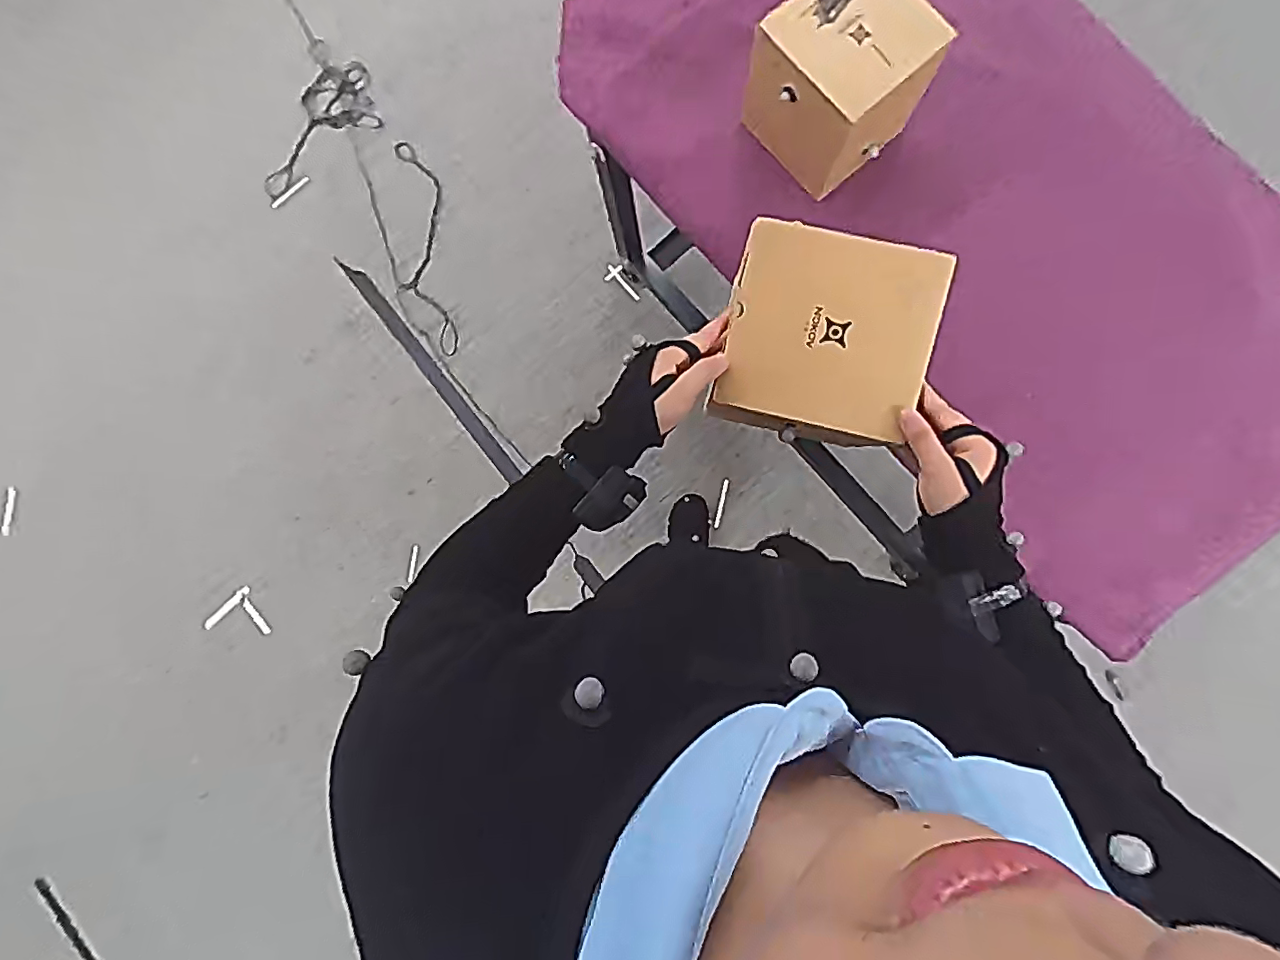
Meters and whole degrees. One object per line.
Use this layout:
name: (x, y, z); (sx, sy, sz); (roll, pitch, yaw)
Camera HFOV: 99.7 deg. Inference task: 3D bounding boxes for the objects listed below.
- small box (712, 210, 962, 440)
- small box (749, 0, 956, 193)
small box: (0.177, -0.140, 0.546); (0.179, 0.176, 0.168); (14, 94, 5)
small box: (0.268, -0.539, 0.731); (0.168, 0.176, 0.179); (-40, 85, 1)
